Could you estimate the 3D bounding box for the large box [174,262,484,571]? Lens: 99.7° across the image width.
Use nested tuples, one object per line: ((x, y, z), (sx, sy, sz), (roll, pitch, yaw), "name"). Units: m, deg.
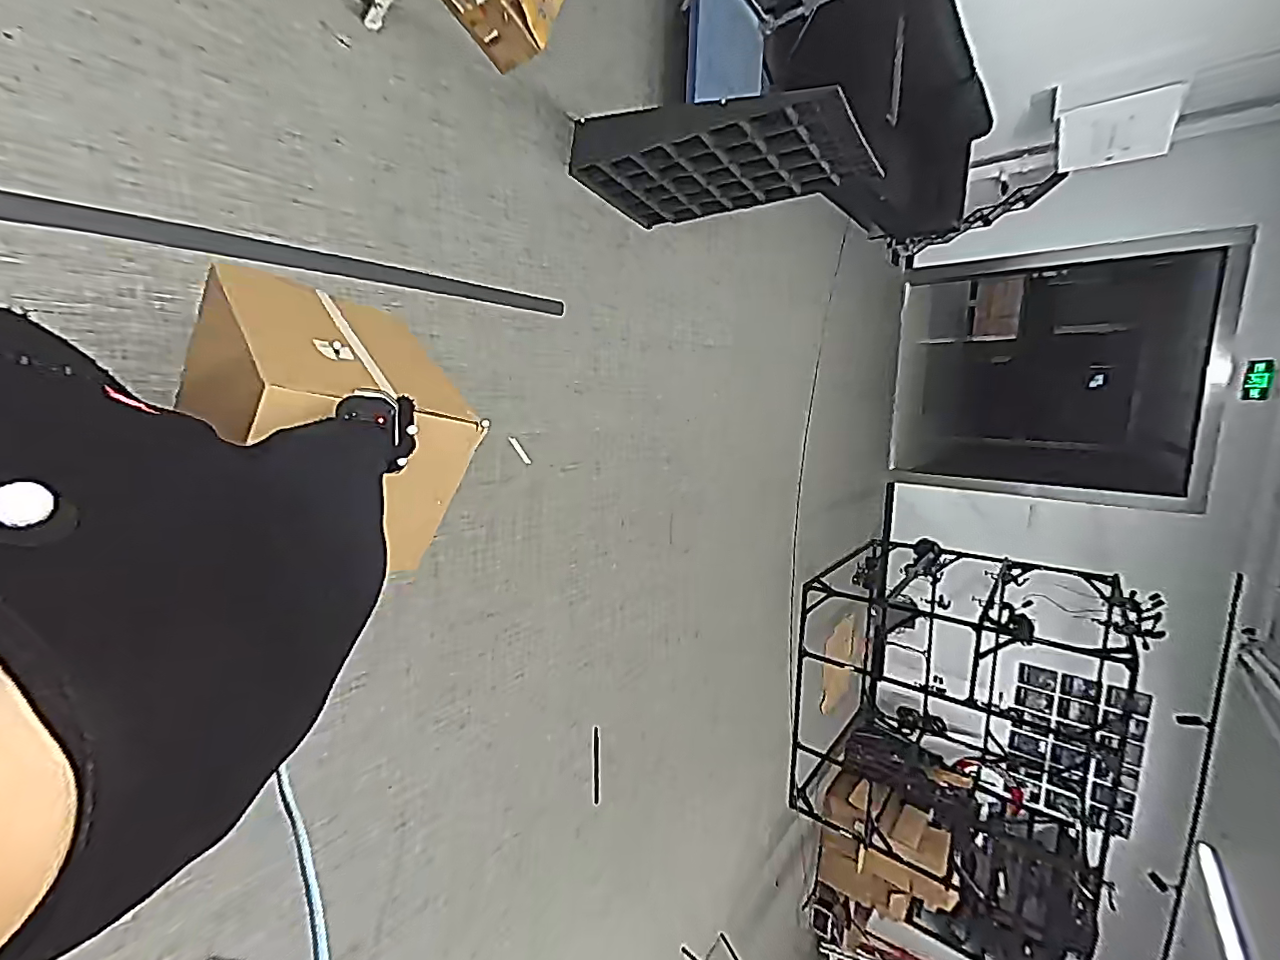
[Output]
((-0.544, -0.098, 0.928), (0.320, 0.408, 0.320), (7, 123, -51), "large box")
